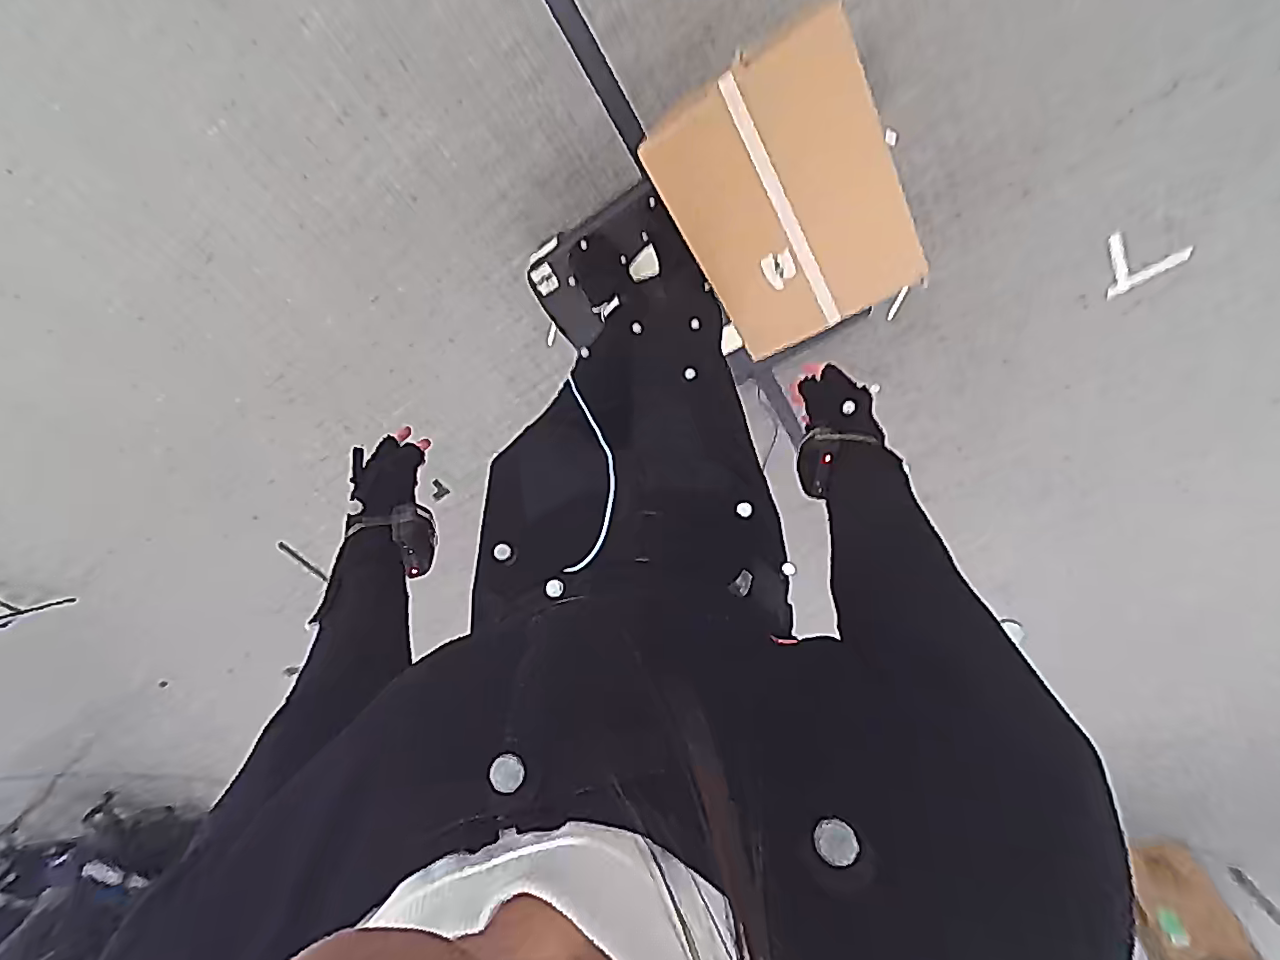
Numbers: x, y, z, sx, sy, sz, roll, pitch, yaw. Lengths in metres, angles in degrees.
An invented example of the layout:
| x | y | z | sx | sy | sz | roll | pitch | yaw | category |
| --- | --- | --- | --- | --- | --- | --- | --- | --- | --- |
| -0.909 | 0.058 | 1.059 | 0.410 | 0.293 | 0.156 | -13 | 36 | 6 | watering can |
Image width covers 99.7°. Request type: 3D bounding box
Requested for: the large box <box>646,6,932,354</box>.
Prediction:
| x | y | z | sx | sy | sz | roll | pitch | yaw | category |
| --- | --- | --- | --- | --- | --- | --- | --- | --- | --- |
| 0.260 | -0.516 | 0.961 | 0.320 | 0.320 | 0.408 | -22 | 124 | 28 | large box |
